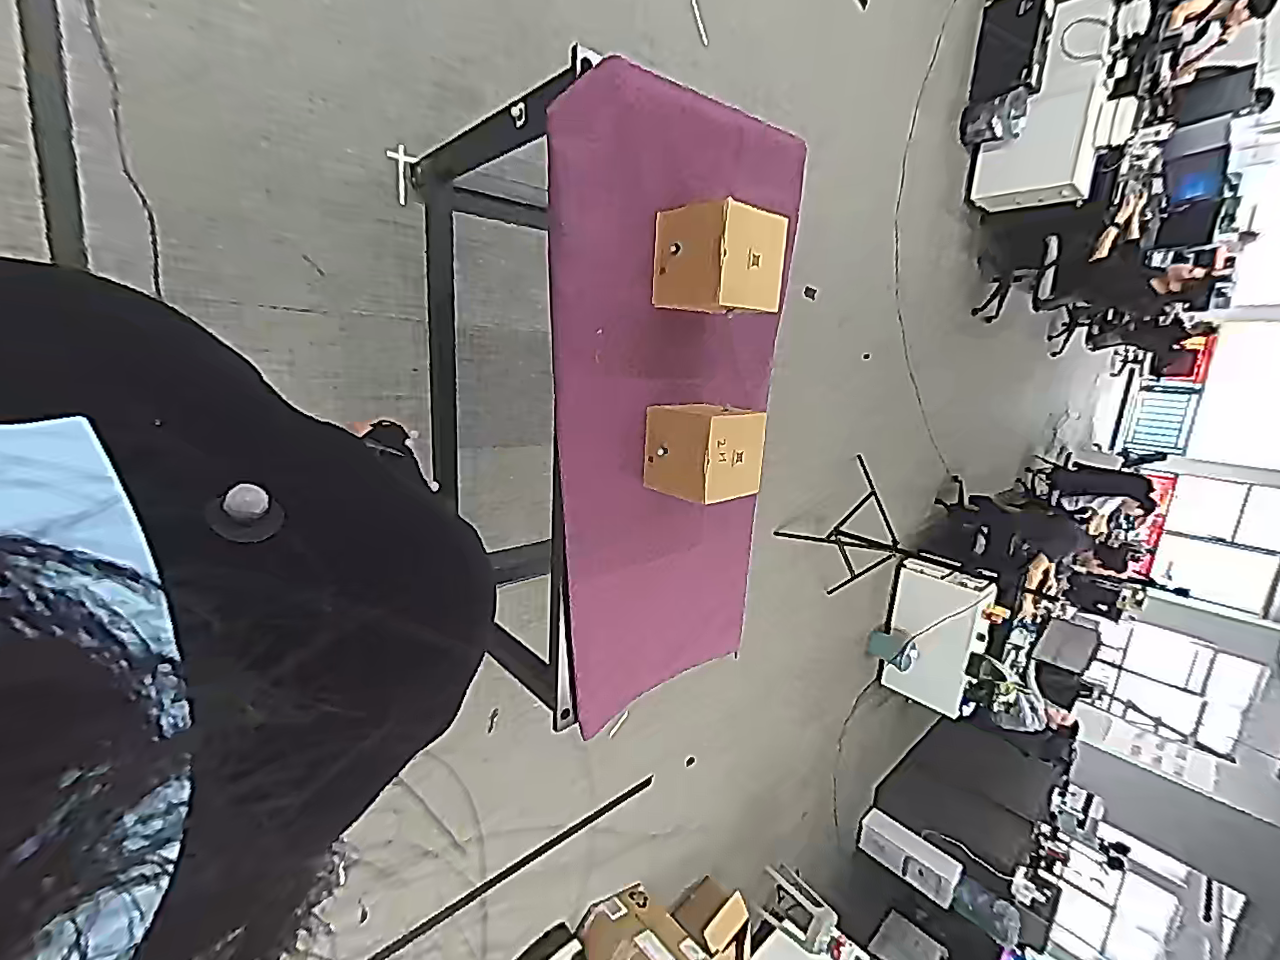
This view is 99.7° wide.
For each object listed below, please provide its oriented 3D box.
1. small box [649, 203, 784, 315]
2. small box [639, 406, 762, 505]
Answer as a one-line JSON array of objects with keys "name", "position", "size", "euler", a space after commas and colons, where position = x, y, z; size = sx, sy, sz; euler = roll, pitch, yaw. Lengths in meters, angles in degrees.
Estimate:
[{"name": "small box", "position": [0.140, -0.401, 1.008], "size": [0.179, 0.176, 0.168], "euler": [-10, 110, -41]}, {"name": "small box", "position": [0.121, -0.058, 1.091], "size": [0.179, 0.176, 0.168], "euler": [-9, 107, -42]}]
